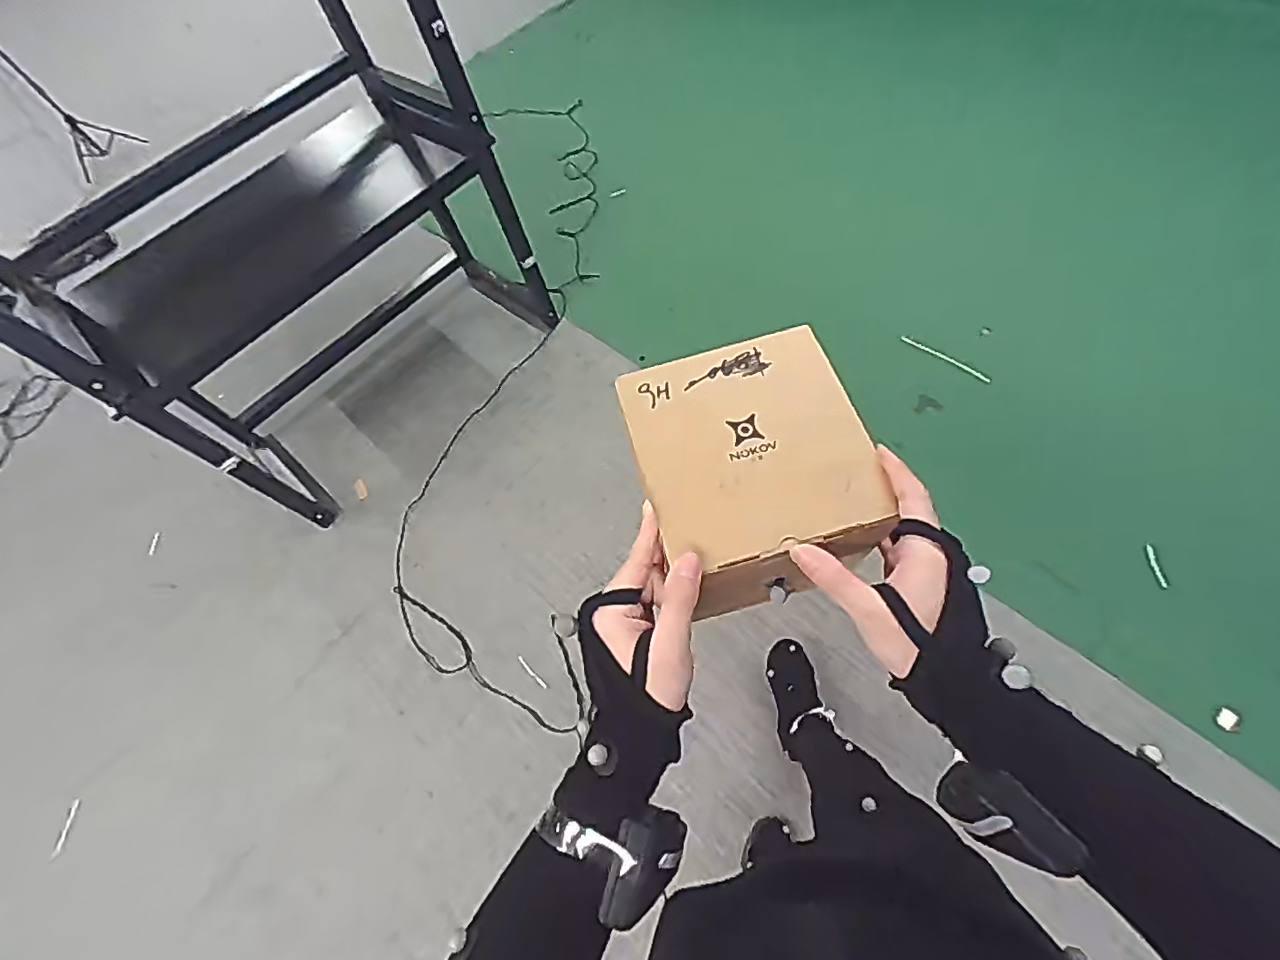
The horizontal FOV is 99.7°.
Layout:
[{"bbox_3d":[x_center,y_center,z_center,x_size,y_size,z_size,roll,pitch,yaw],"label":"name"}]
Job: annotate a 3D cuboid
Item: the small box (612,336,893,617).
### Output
[{"bbox_3d":[0.084,0.012,0.475,0.168,0.176,0.179,-16,65,-2],"label":"small box"}]
